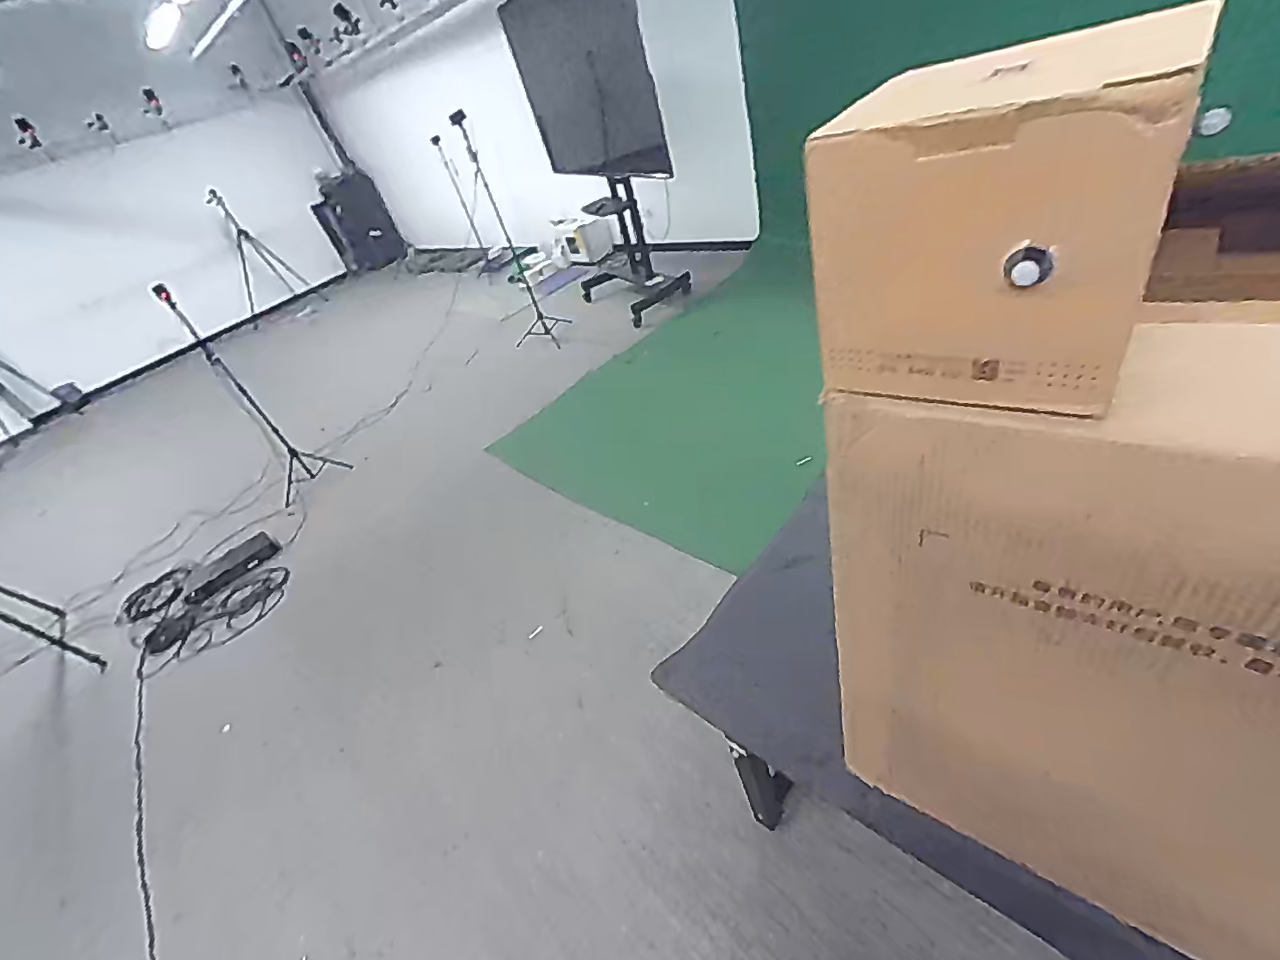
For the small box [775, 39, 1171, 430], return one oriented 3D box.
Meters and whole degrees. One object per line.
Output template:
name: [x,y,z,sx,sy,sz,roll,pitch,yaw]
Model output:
small box: [0.214,-0.153,0.362,0.168,0.176,0.179,16,48,39]
